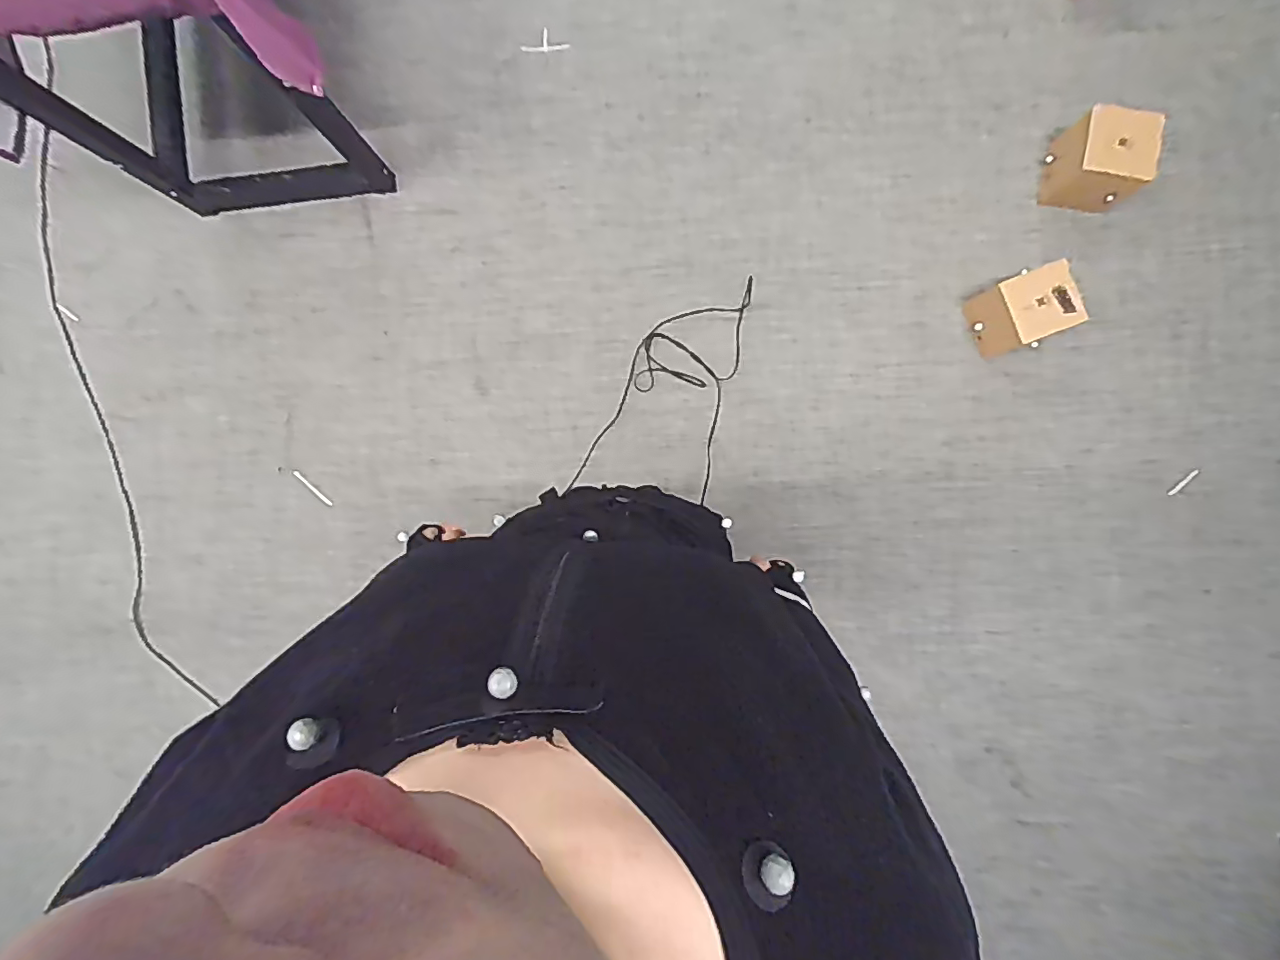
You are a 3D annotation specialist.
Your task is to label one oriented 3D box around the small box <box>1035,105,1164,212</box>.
[{"bbox_3d":[1.184,-0.825,1.405,0.179,0.176,0.168,11,90,2],"label":"small box"}]
